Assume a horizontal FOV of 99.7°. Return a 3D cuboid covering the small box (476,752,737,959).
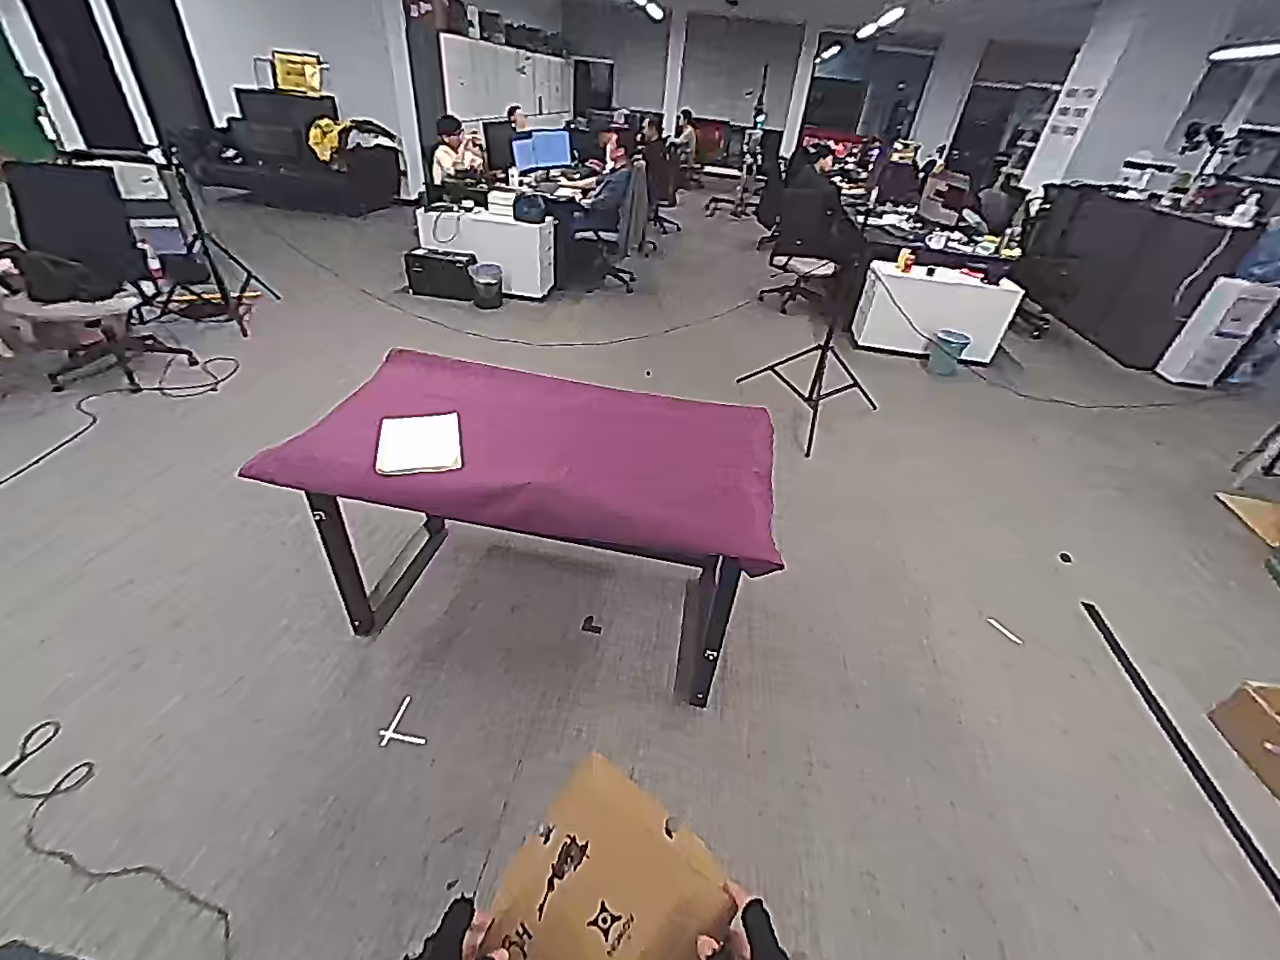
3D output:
[{"bbox_3d":[-0.033,0.408,0.553,0.179,0.176,0.168,37,72,6],"label":"small box"}]
